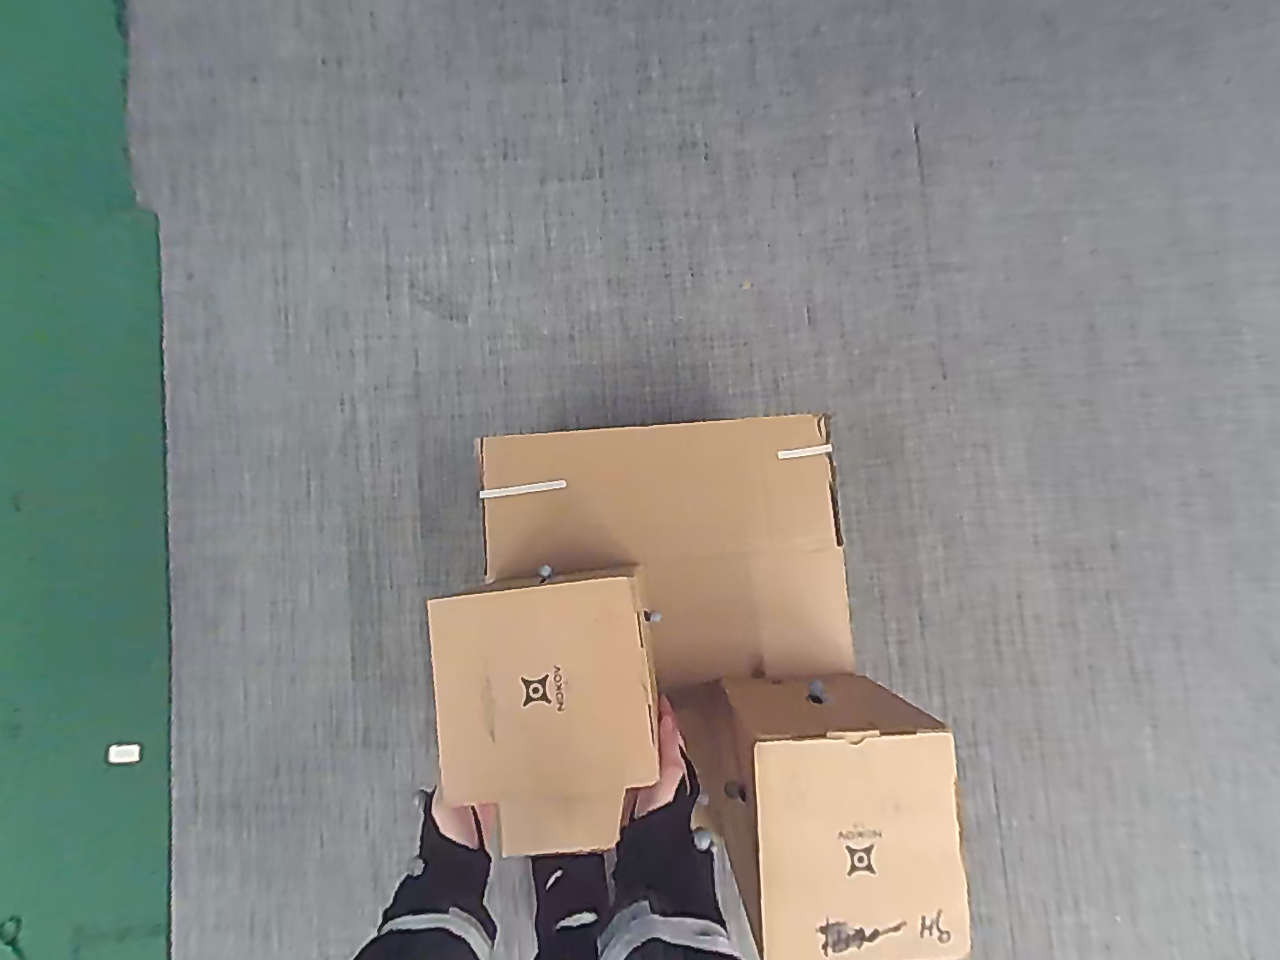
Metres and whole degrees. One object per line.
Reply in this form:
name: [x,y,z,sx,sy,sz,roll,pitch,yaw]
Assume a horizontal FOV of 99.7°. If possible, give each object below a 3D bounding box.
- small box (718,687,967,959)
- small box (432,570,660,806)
small box: [0.169,0.300,0.506,0.168,0.176,0.179,-1,84,-2]
small box: [-0.077,0.179,0.517,0.179,0.176,0.168,-7,83,1]
